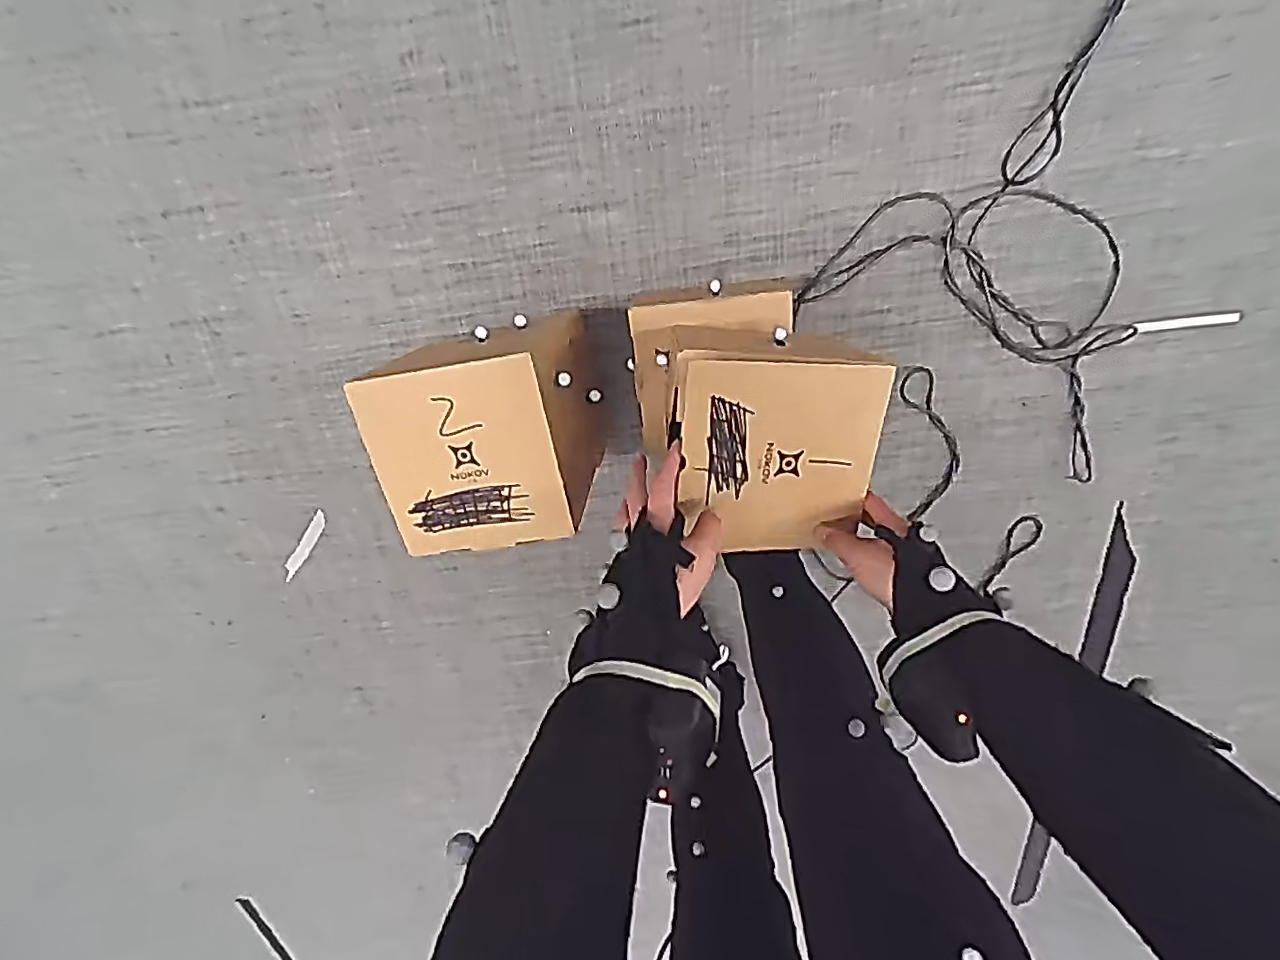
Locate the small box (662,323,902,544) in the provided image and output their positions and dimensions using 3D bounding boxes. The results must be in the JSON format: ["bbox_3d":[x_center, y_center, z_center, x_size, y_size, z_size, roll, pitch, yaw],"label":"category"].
[{"bbox_3d":[0.114,-0.055,0.522,0.179,0.176,0.168,4,113,-1],"label":"small box"}]

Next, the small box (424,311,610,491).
[{"bbox_3d":[-0.141,-0.111,0.694,0.168,0.176,0.179,-12,113,8],"label":"small box"}]

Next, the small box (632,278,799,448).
[{"bbox_3d":[0.087,-0.149,0.663,0.179,0.176,0.168,-4,113,5],"label":"small box"}]
